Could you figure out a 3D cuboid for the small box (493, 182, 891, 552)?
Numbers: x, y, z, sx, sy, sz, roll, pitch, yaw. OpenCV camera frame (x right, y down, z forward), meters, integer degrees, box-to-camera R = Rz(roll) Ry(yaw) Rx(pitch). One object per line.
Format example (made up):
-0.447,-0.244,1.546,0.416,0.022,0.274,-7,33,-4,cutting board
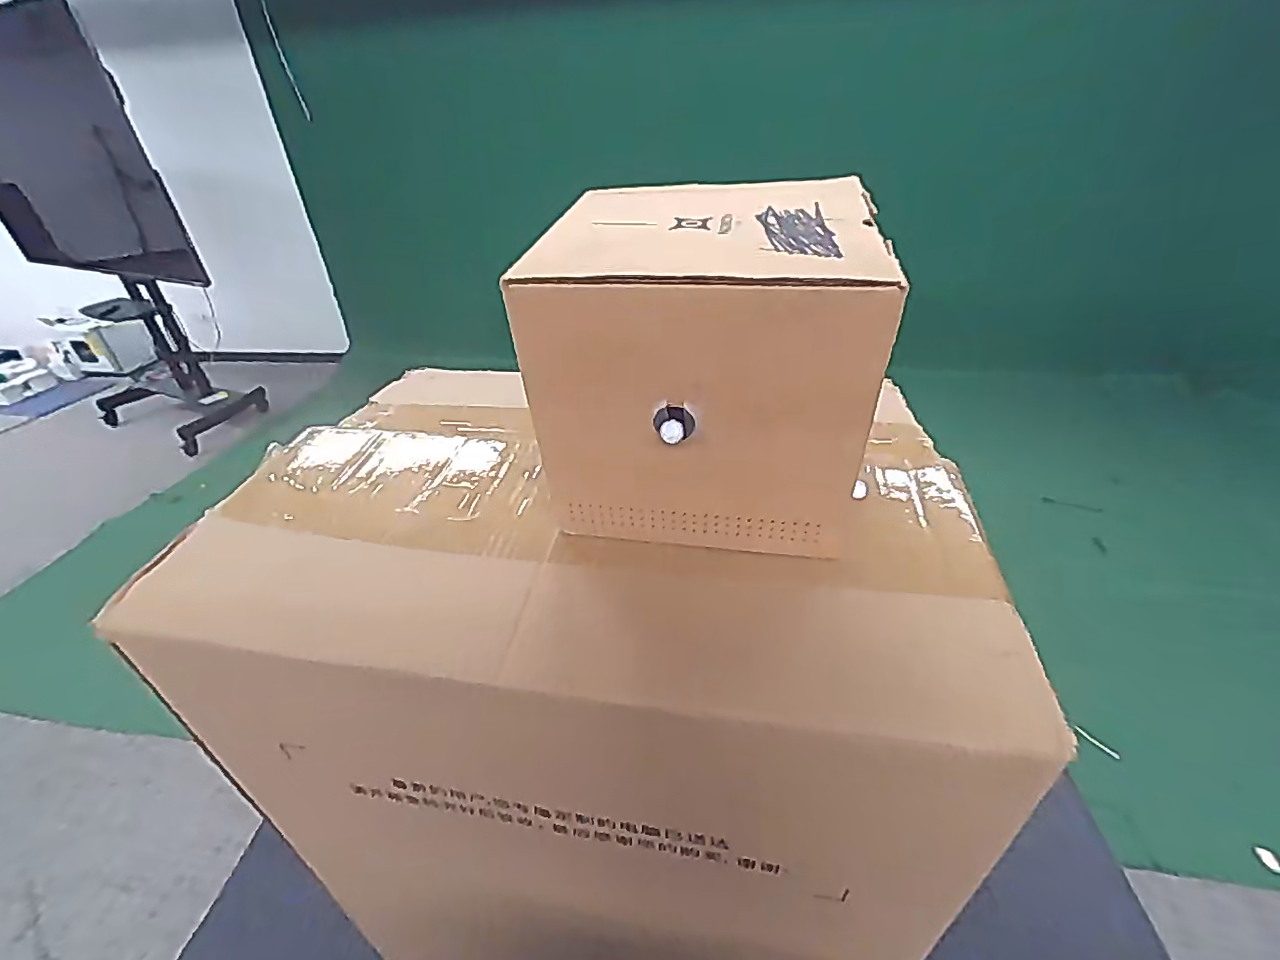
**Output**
0.037,-0.072,0.342,0.179,0.176,0.168,4,41,11,small box
